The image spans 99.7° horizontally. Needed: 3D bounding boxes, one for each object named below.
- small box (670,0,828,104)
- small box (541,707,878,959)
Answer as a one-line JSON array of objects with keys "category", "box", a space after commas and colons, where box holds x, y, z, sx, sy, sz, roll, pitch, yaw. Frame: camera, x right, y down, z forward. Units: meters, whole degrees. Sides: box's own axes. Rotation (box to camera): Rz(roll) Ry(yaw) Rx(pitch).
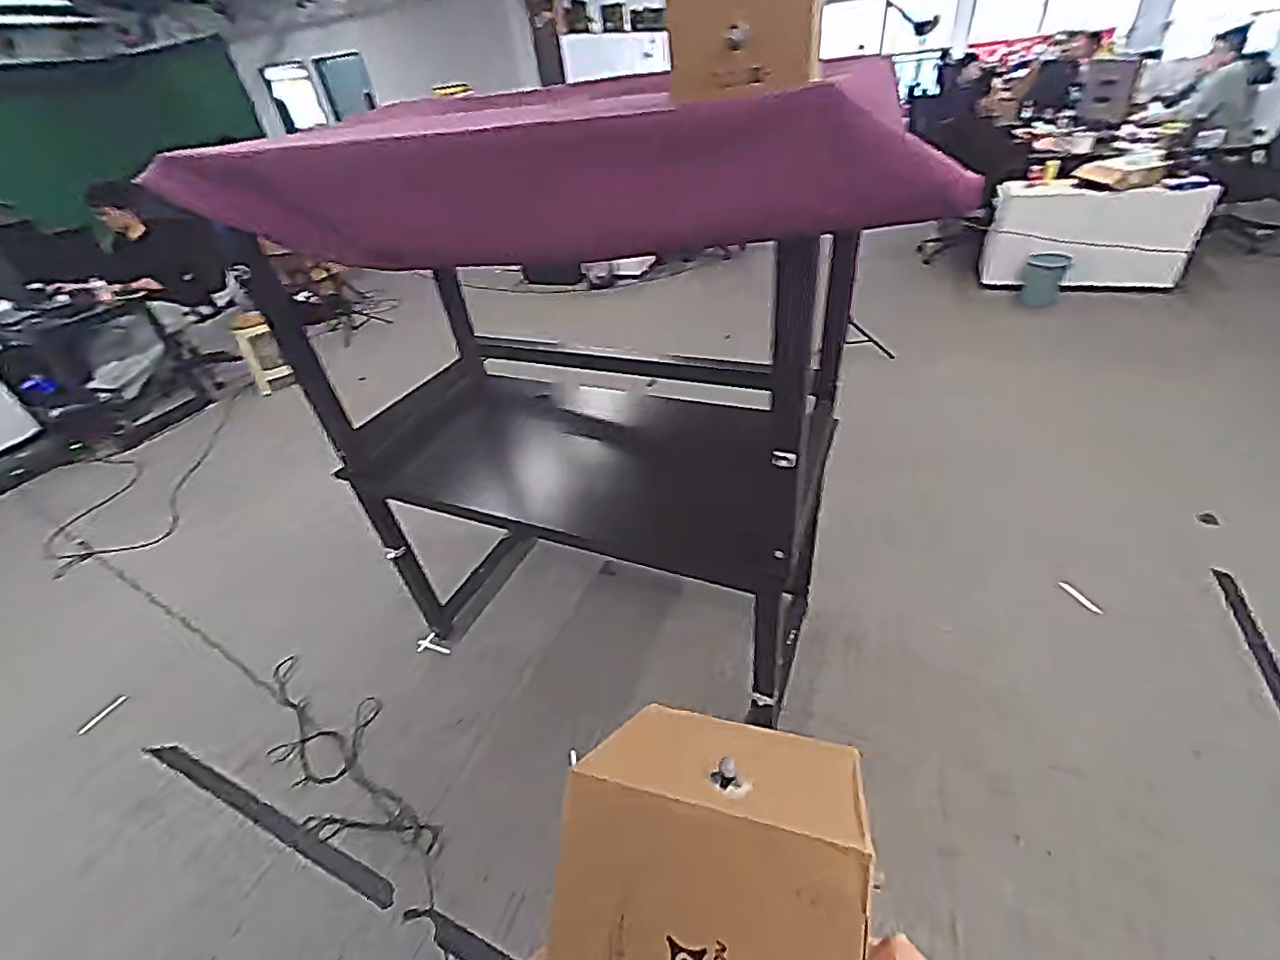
[{"category": "small box", "box": [0.132, -0.554, 0.637, 0.168, 0.176, 0.179, 5, 38, 18]}, {"category": "small box", "box": [0.051, 0.268, 0.363, 0.179, 0.176, 0.168, 4, 82, 19]}]
